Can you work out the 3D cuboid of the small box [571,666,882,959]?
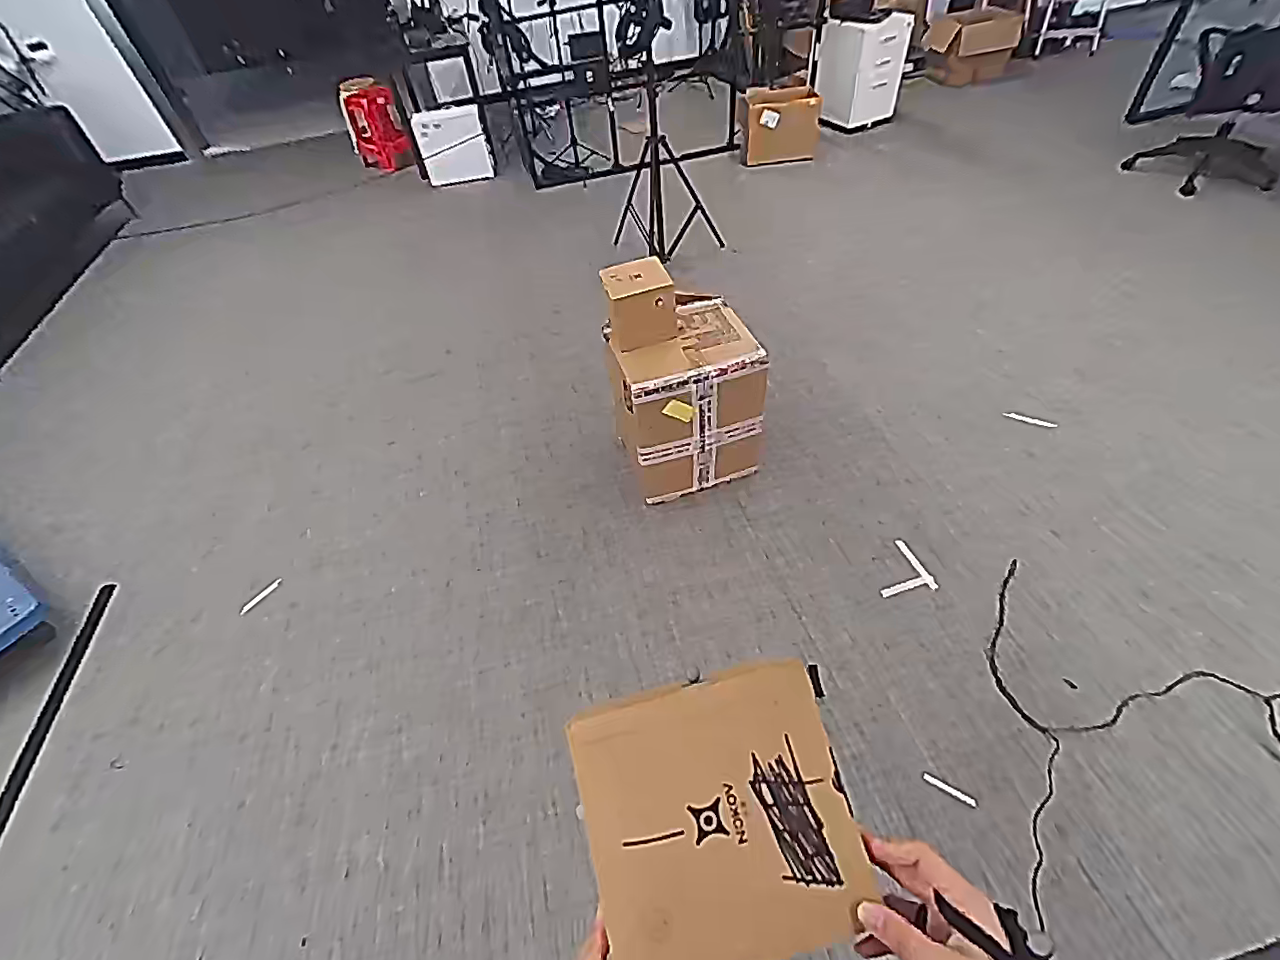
[{"bbox_3d":[0.051,0.254,0.436,0.179,0.176,0.168,-14,70,-6],"label":"small box"}]

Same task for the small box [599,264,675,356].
[{"bbox_3d":[-0.004,-0.480,1.537,0.179,0.176,0.168,-17,49,-4],"label":"small box"}]
